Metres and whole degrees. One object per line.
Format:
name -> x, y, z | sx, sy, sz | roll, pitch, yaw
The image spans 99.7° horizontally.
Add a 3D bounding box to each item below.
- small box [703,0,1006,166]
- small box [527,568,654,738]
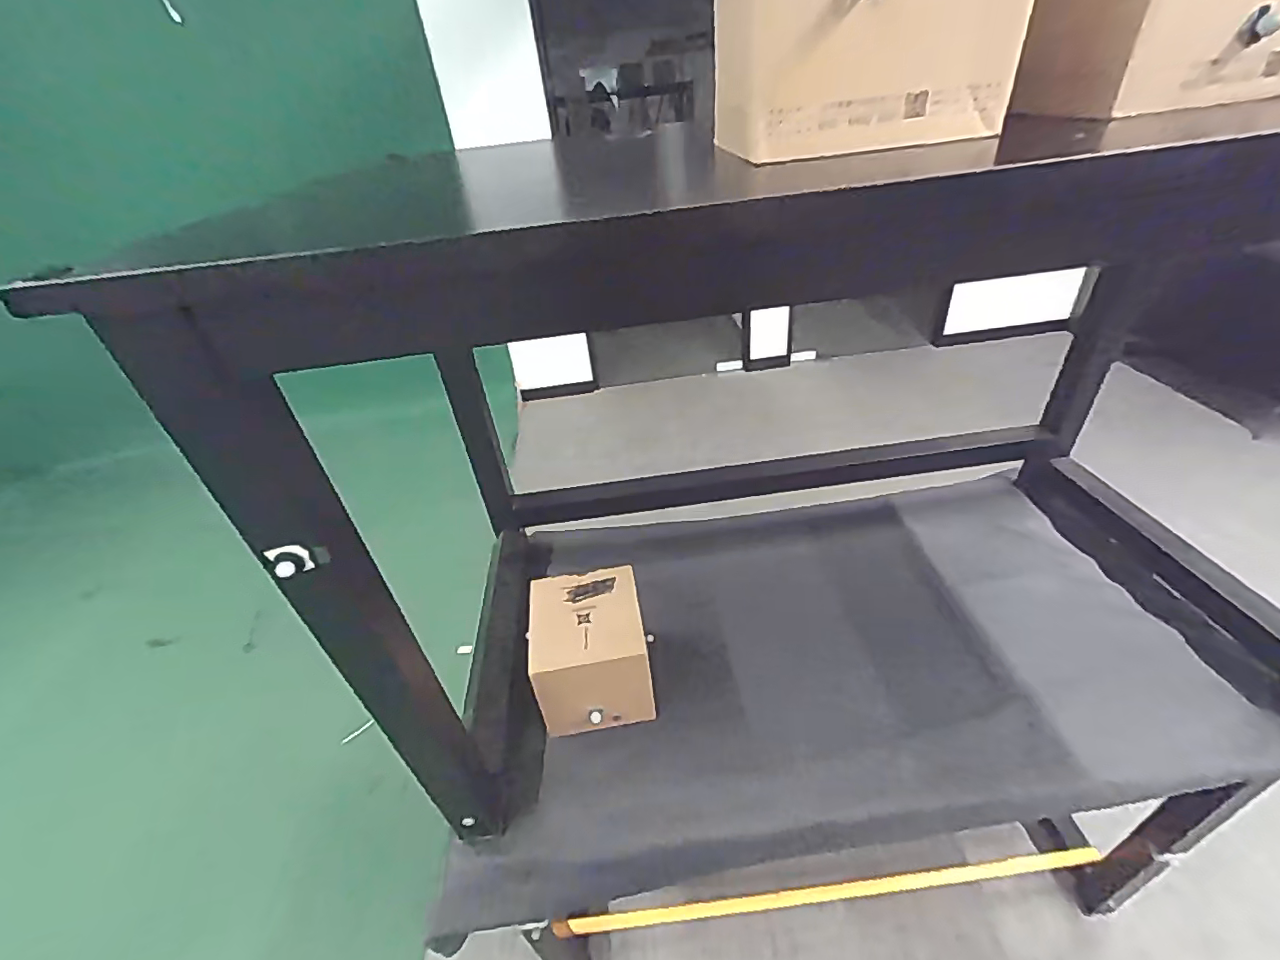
small box -> 0.138, -0.331, 0.383 | 0.168, 0.176, 0.179 | -6, 35, 2
small box -> -0.075, 0.267, 0.844 | 0.168, 0.176, 0.179 | -9, 36, -3
